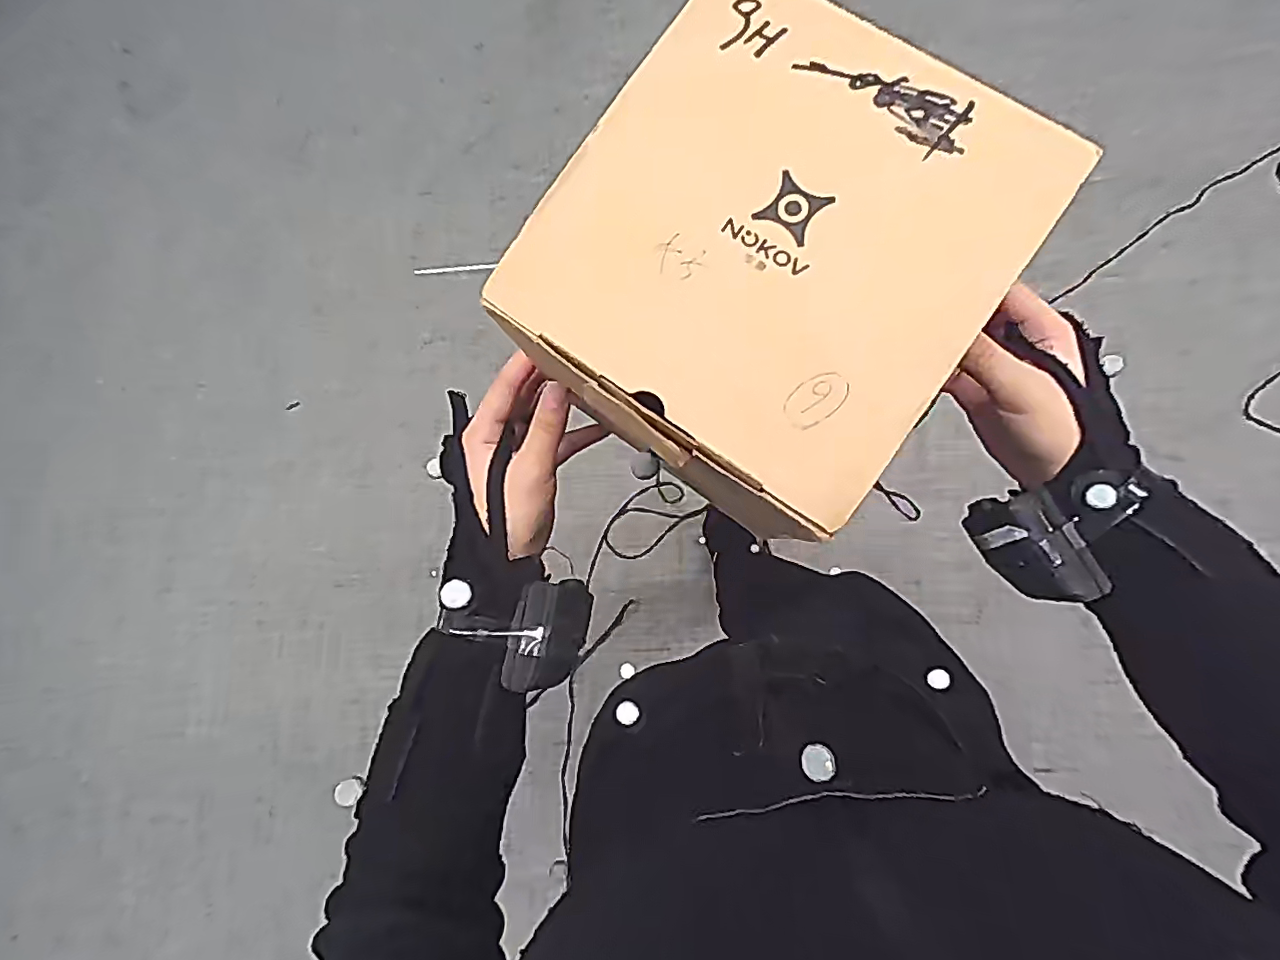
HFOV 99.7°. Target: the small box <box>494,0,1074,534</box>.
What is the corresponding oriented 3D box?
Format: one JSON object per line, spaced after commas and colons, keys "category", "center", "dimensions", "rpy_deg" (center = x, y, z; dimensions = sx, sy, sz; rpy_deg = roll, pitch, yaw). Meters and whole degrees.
{"category": "small box", "center": [0.060, -0.087, 0.294], "dimensions": [0.168, 0.176, 0.179], "rpy_deg": [36, 89, 7]}
